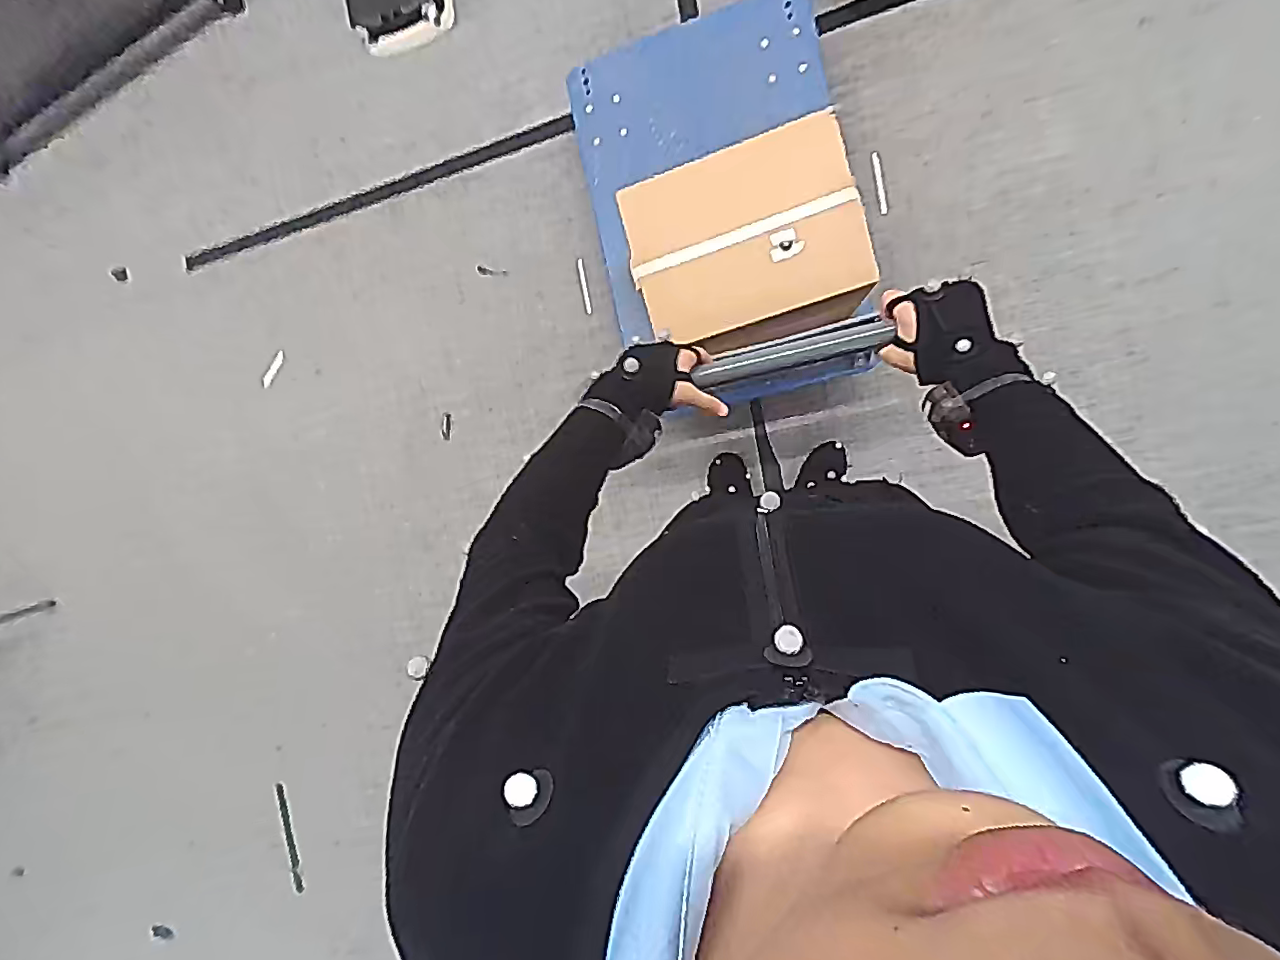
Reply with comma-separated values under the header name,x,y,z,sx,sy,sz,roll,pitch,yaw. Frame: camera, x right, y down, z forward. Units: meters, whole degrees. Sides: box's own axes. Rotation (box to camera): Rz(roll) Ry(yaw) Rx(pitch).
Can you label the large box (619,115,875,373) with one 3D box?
name,x,y,z,sx,sy,sz,roll,pitch,yaw
large box,0.212,-0.447,1.128,0.408,0.320,0.320,-16,91,11
